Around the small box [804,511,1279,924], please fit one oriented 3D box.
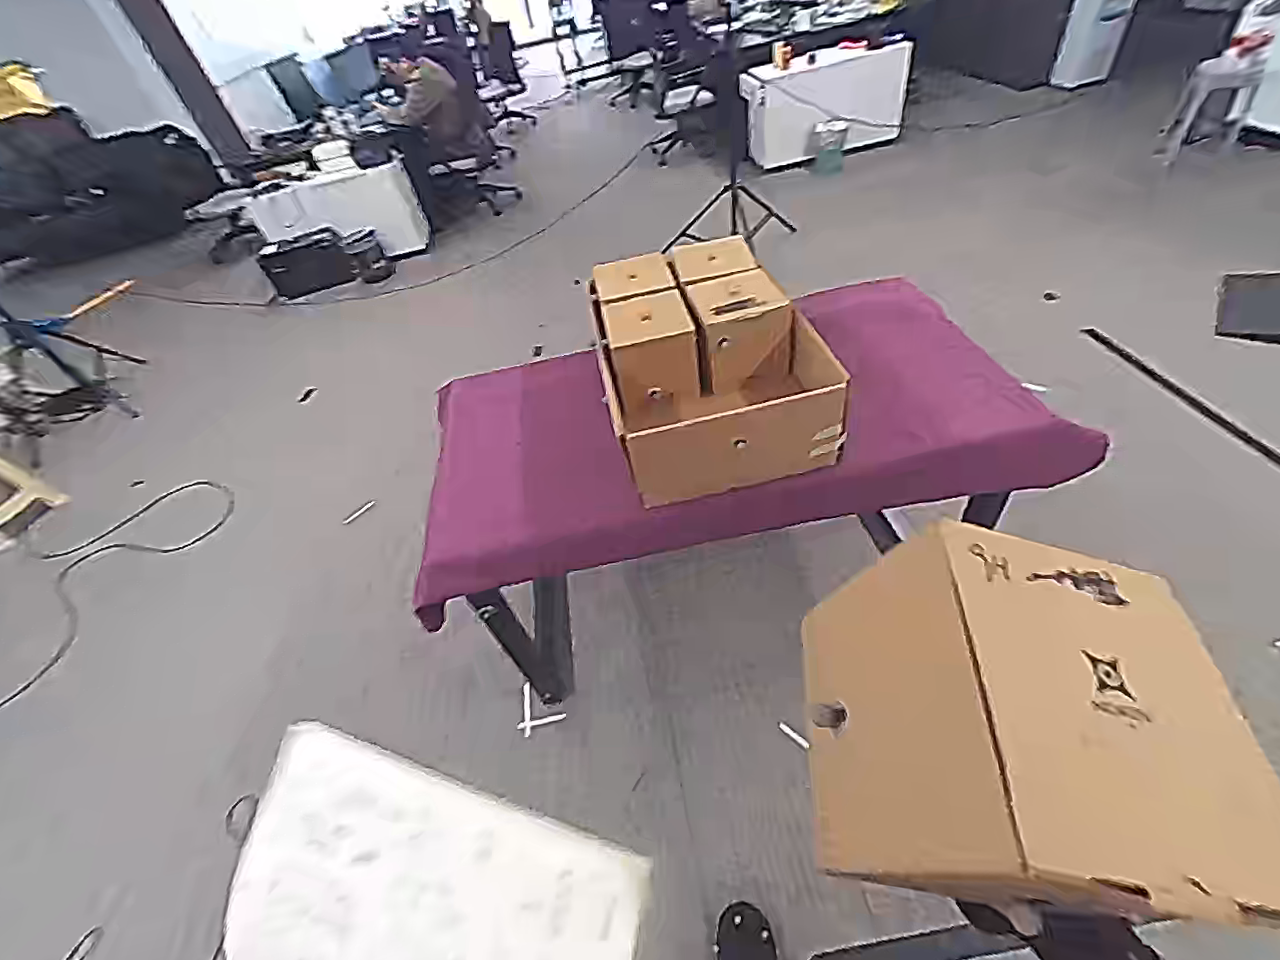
[{"bbox_3d":[0.219,0.151,0.342,0.168,0.176,0.179,15,53,-7],"label":"small box"}]
